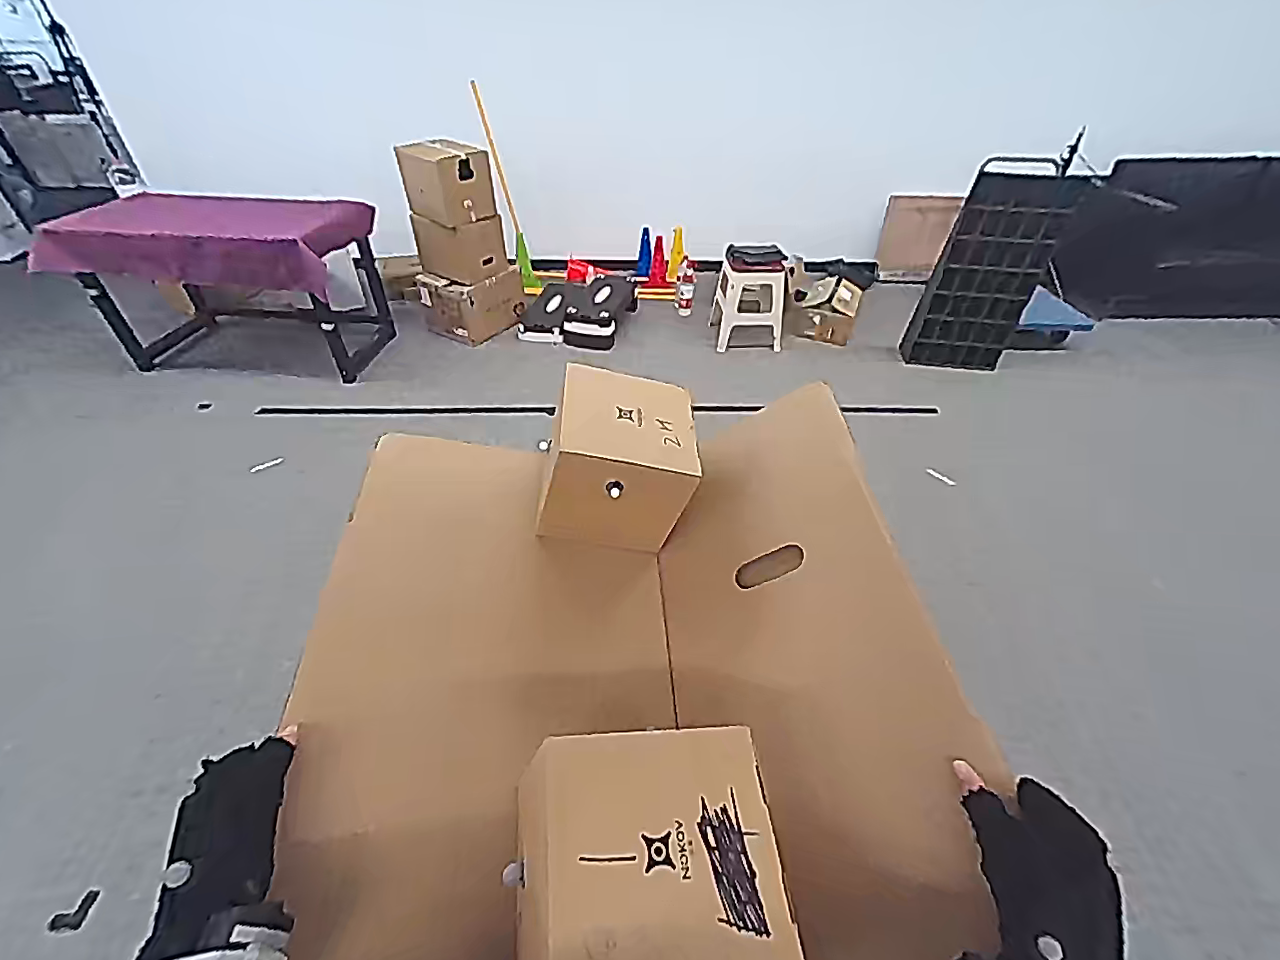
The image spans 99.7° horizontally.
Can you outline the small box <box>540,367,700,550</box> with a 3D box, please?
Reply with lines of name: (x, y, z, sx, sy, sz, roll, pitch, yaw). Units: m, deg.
small box: (-0.034, -0.023, 0.739, 0.179, 0.176, 0.168, 11, 47, -14)
